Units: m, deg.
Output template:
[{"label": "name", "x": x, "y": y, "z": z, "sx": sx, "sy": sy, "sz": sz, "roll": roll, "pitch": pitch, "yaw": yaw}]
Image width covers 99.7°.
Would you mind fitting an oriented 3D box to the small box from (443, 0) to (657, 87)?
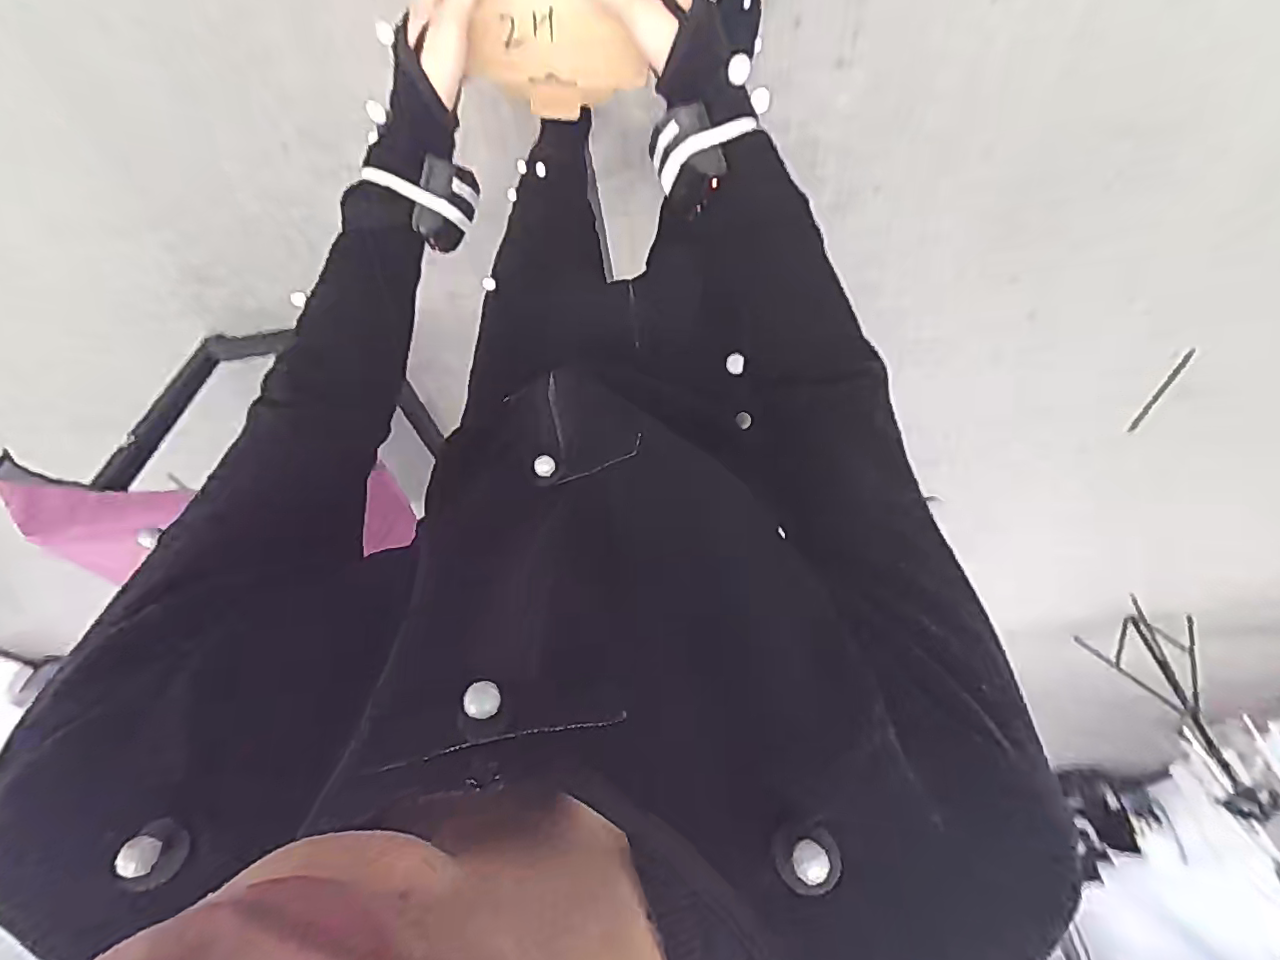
[{"label": "small box", "x": -0.066, "y": -0.452, "z": 0.420, "sx": 0.168, "sy": 0.176, "sz": 0.179, "roll": 2, "pitch": 153, "yaw": -4}]
